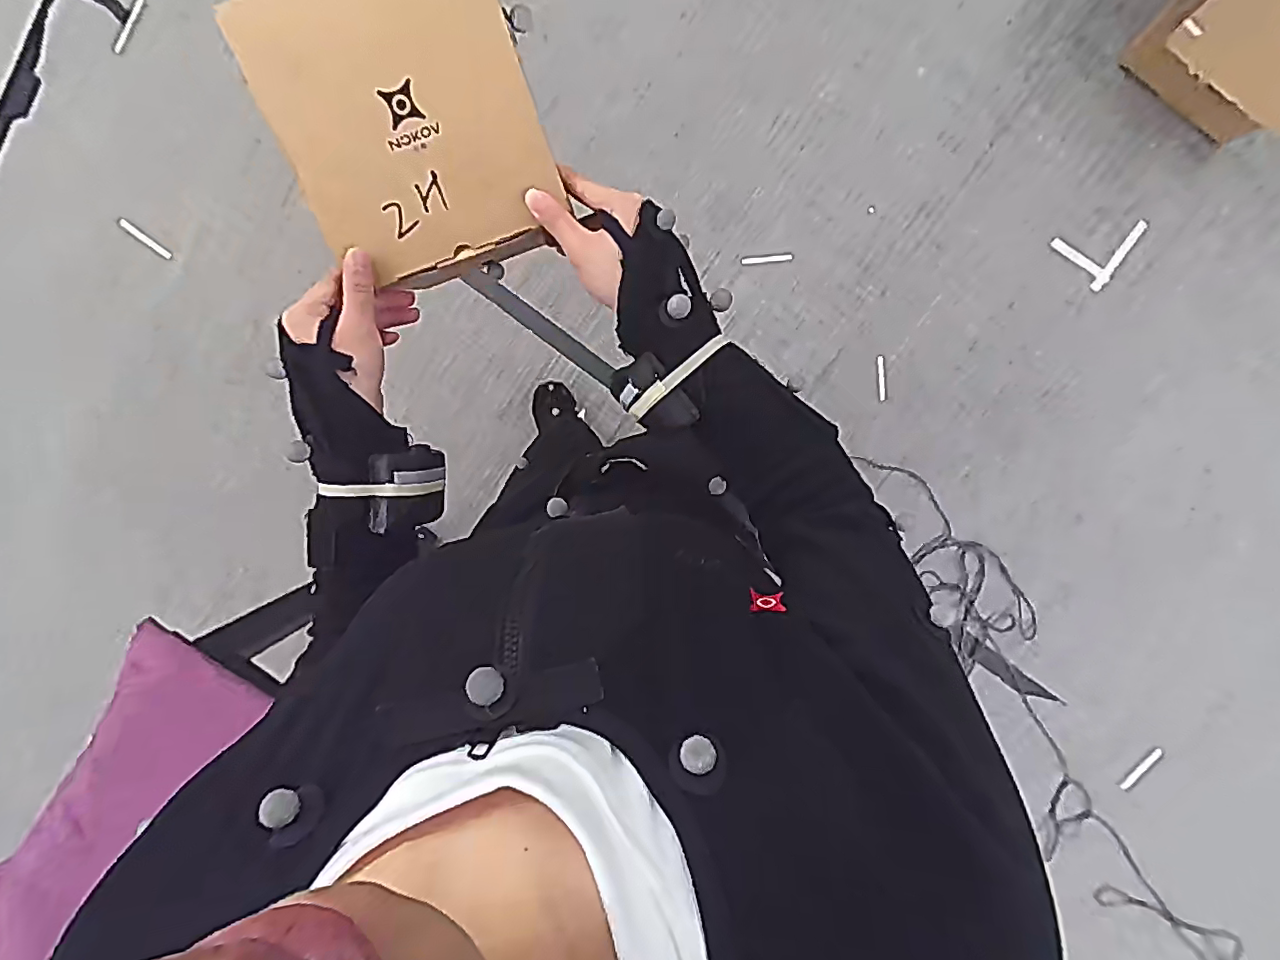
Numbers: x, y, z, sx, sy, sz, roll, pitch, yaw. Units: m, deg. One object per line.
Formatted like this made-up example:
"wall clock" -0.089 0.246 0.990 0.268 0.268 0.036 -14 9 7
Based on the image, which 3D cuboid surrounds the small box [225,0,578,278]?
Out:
"small box" -0.154 -0.269 0.422 0.168 0.176 0.179 -18 111 3
